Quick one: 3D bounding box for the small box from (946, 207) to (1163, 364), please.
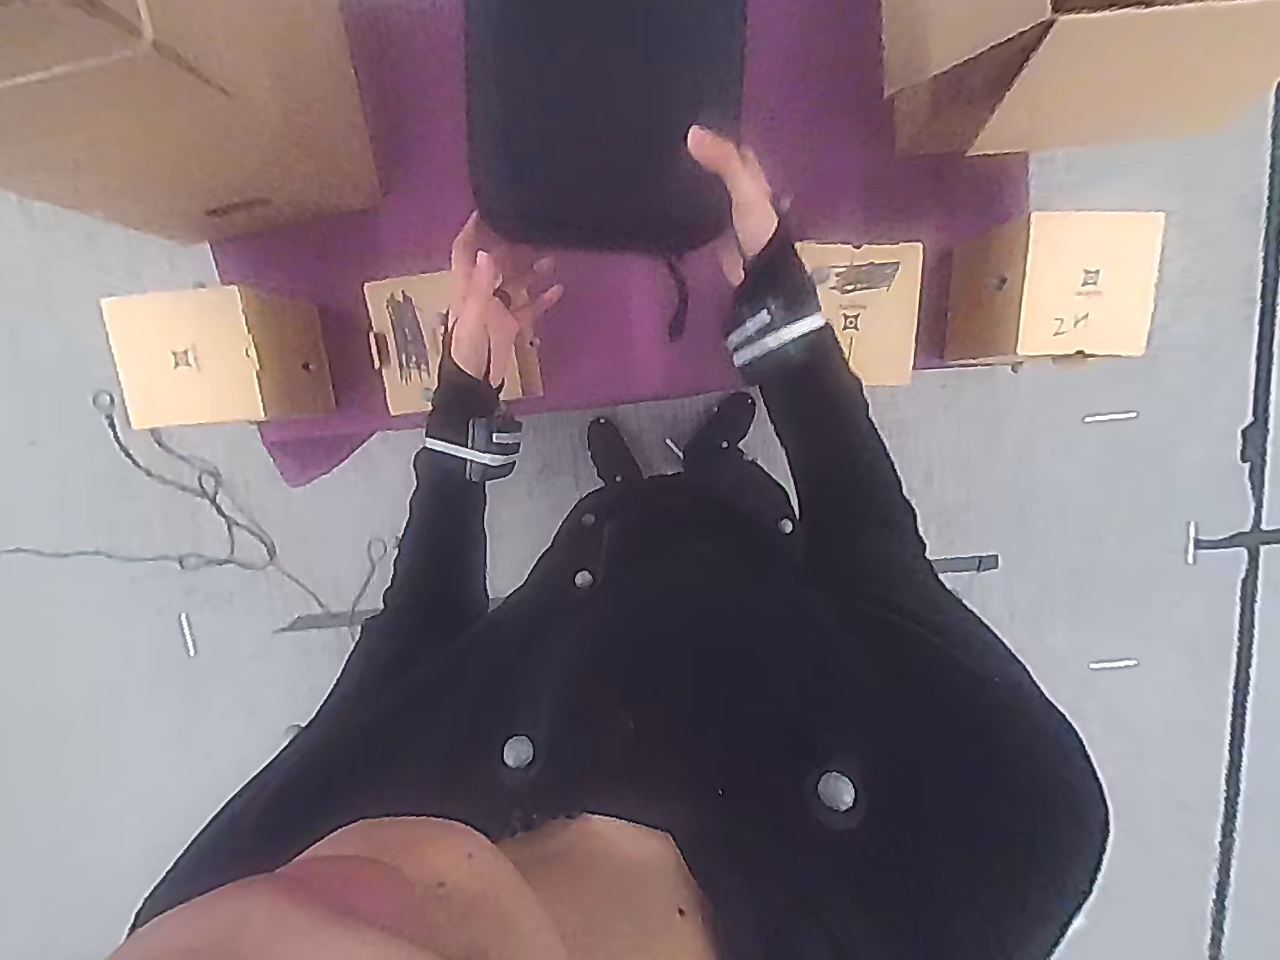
[{"bbox_3d":[0.553,-0.257,0.748,0.168,0.176,0.179,1,99,1],"label":"small box"}]

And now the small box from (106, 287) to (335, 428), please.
[{"bbox_3d":[-0.569,-0.164,0.759,0.179,0.176,0.168,-6,99,-1],"label":"small box"}]
